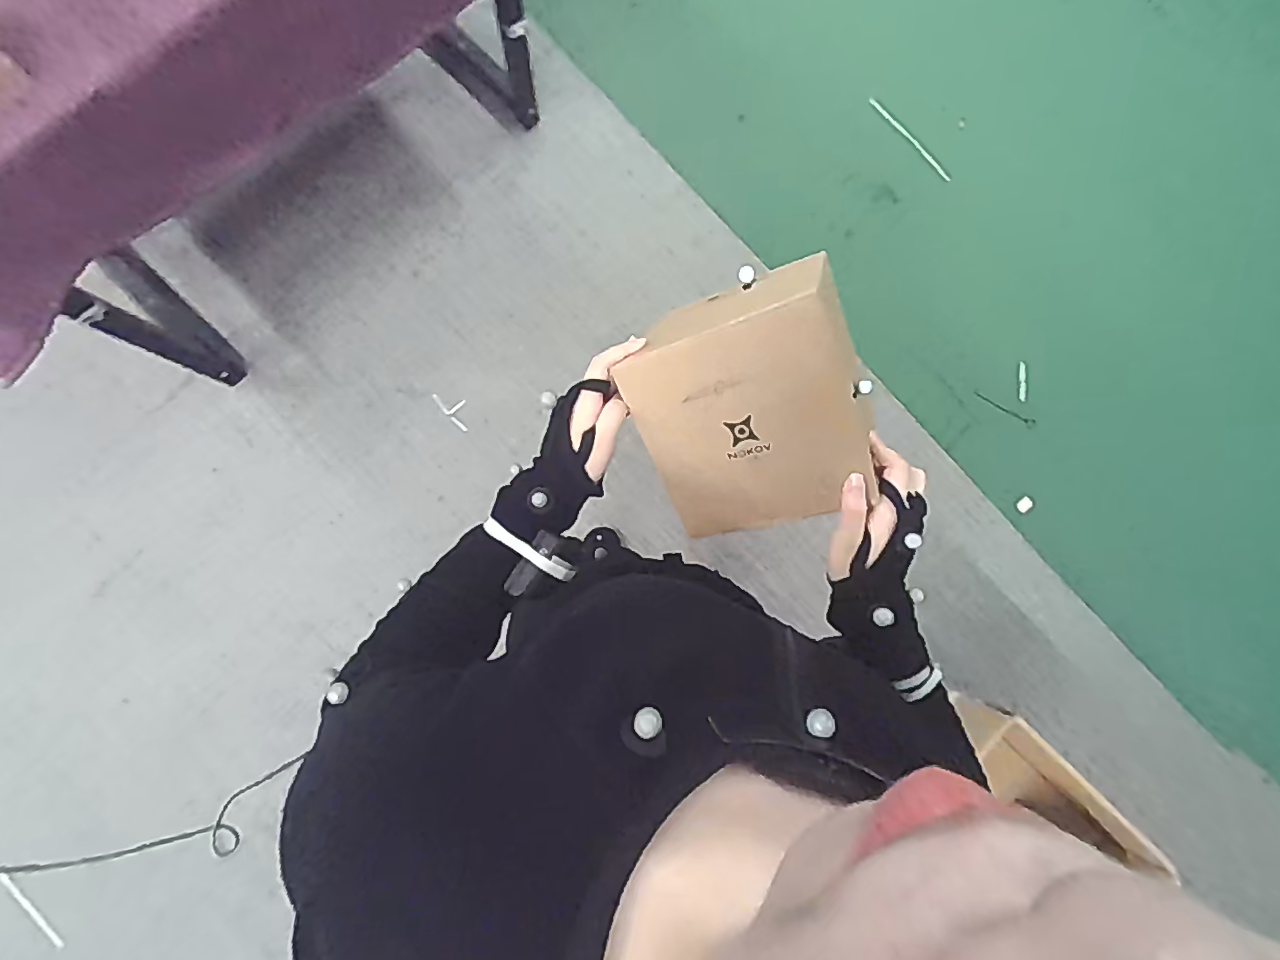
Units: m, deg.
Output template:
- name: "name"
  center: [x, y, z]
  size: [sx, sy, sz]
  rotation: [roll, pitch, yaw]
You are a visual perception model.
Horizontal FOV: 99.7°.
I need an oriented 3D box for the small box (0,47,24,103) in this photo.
- name: "small box"
  center: [-0.991, -0.585, 0.694]
  size: [0.168, 0.176, 0.179]
  rotation: [45, 81, 2]
